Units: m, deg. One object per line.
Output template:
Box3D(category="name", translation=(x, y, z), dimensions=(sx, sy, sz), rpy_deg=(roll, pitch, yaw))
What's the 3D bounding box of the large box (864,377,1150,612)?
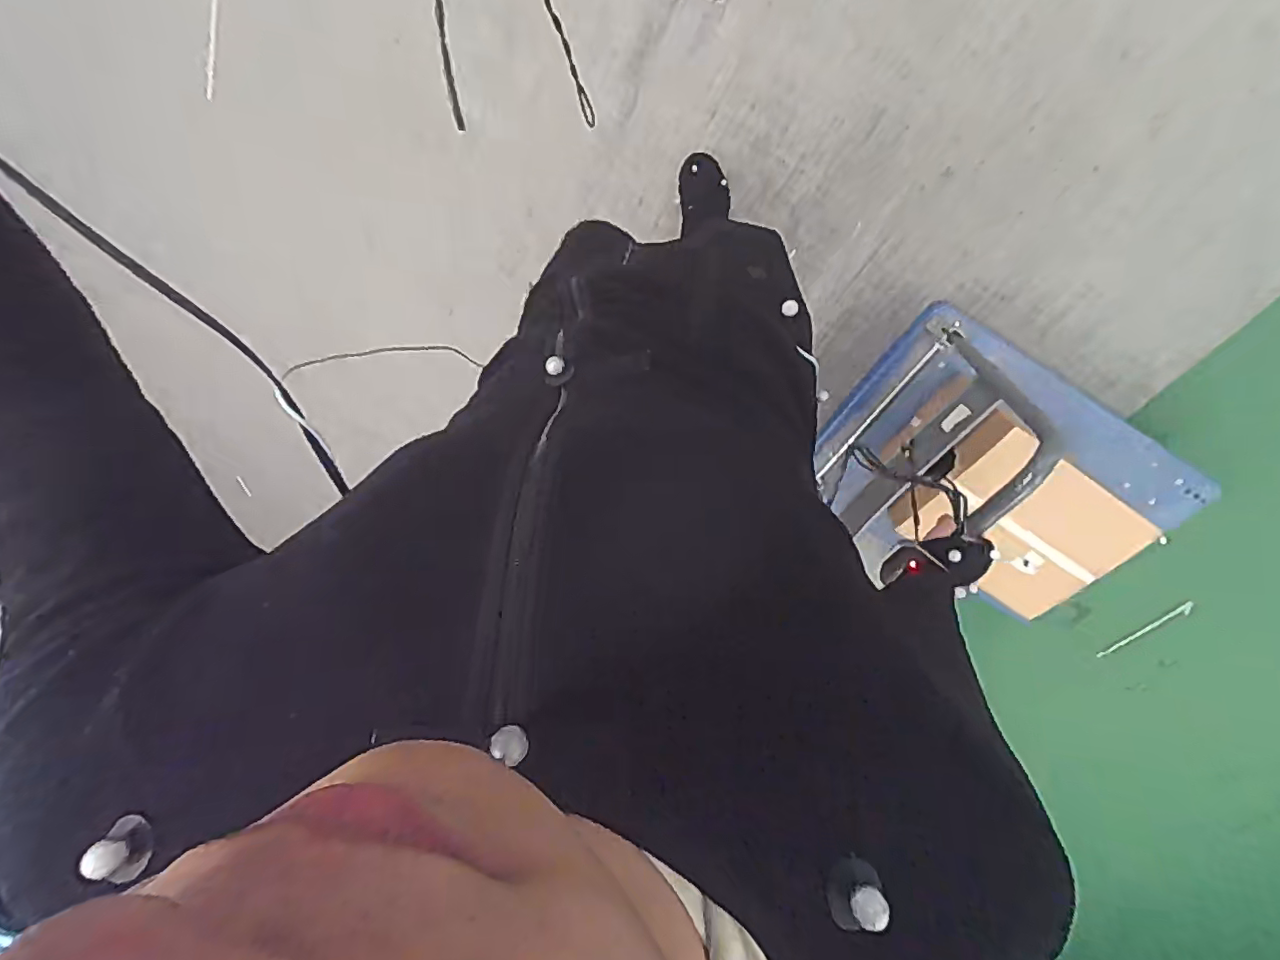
Box3D(category="large box", translation=(0.809, 0.026, 1.263), dimensions=(0.408, 0.320, 0.320), rpy_deg=(32, 121, -9))
